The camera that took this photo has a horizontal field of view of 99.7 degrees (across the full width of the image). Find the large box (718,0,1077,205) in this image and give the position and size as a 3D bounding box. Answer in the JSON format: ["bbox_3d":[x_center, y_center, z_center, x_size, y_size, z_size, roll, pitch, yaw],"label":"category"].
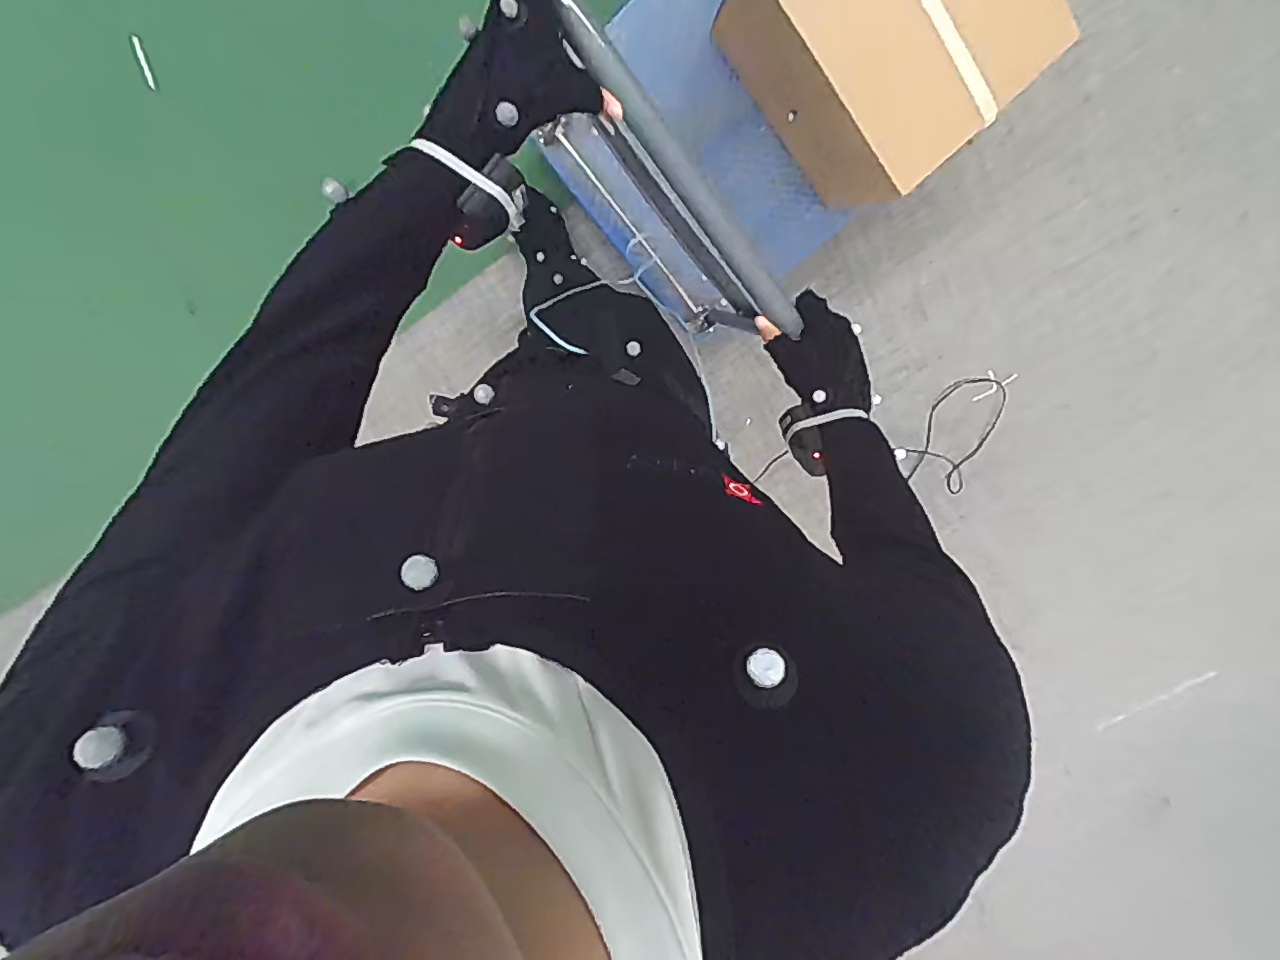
[{"bbox_3d":[0.391,-0.740,0.902,0.320,0.320,0.408,-41,108,13],"label":"large box"}]
